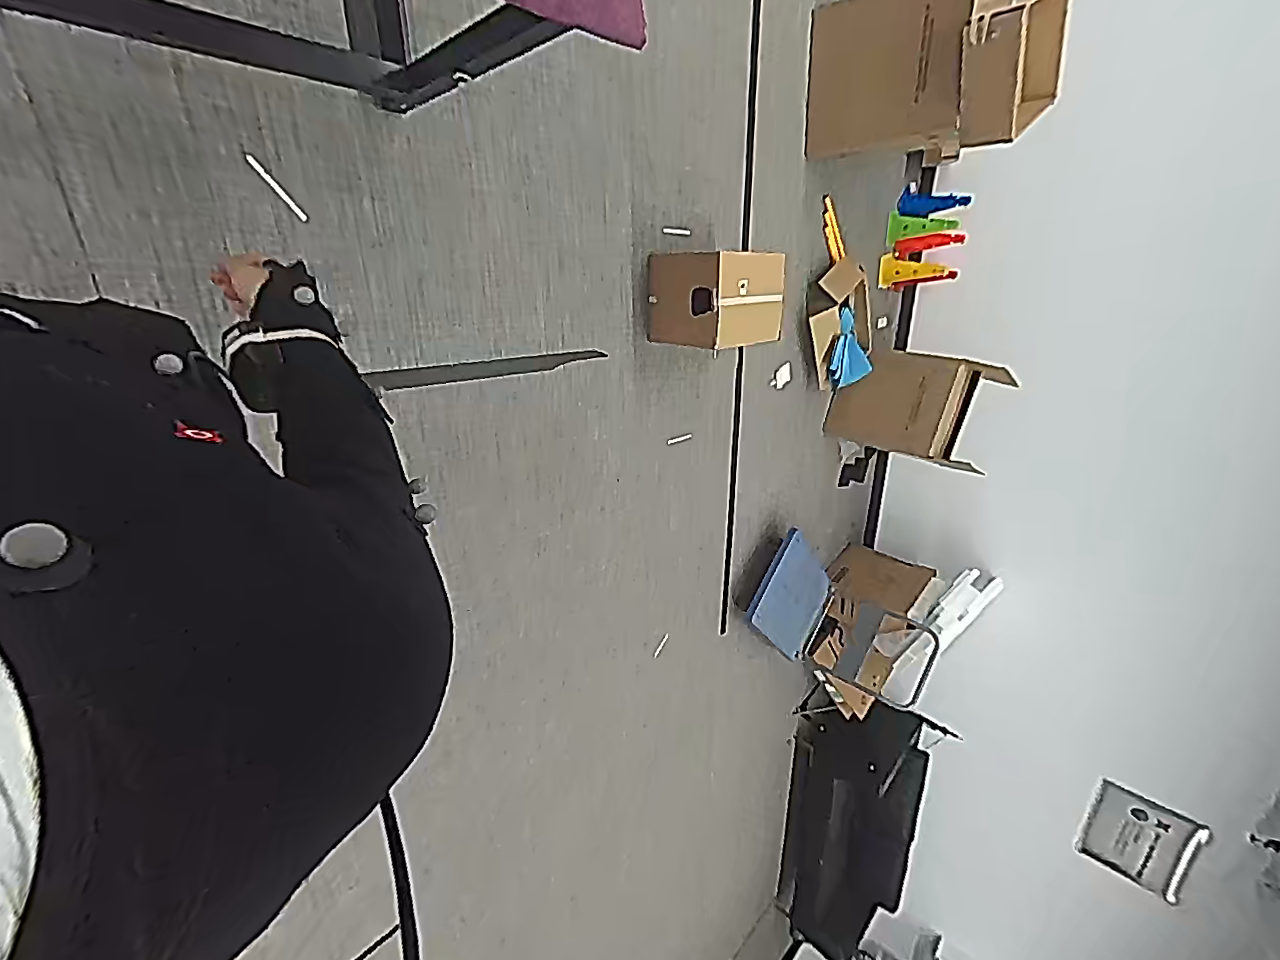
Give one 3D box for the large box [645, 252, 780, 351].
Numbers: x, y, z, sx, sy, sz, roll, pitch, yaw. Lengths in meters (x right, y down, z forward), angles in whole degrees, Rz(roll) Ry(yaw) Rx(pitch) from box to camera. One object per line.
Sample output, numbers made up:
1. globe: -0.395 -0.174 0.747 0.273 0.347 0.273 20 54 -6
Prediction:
1. large box: 0.266 -0.667 1.988 0.408 0.320 0.320 -21 118 -41
